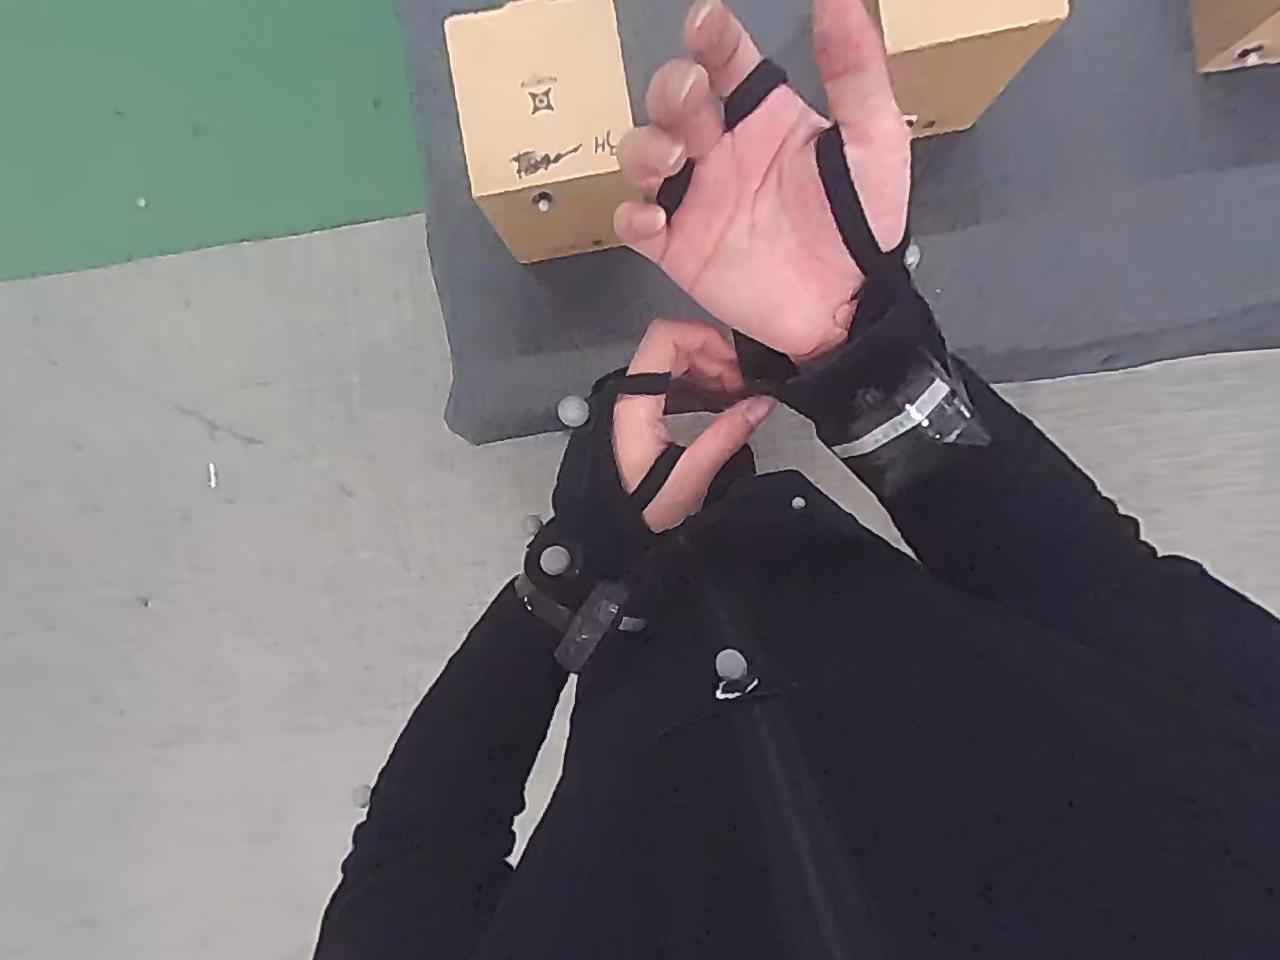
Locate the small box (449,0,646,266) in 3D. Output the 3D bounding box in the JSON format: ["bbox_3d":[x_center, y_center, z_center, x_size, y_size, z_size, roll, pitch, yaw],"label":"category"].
[{"bbox_3d":[-0.088,-0.364,0.594,0.168,0.176,0.179,-9,90,3],"label":"small box"}]

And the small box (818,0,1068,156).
[{"bbox_3d":[0.300,-0.488,0.574,0.168,0.176,0.179,-10,92,4],"label":"small box"}]

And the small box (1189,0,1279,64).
[{"bbox_3d":[0.713,-0.563,0.545,0.168,0.176,0.179,-7,91,3],"label":"small box"}]
